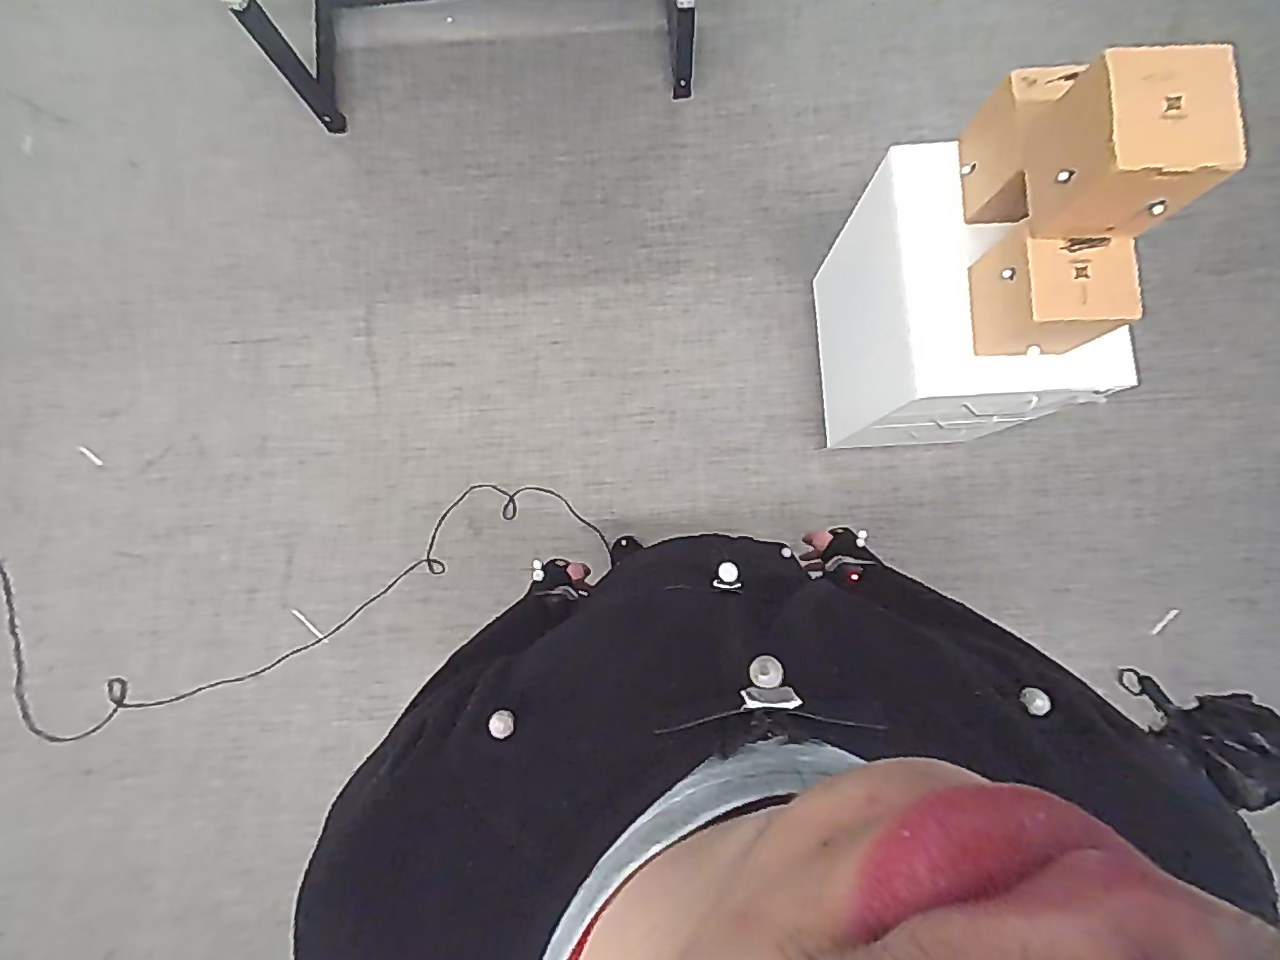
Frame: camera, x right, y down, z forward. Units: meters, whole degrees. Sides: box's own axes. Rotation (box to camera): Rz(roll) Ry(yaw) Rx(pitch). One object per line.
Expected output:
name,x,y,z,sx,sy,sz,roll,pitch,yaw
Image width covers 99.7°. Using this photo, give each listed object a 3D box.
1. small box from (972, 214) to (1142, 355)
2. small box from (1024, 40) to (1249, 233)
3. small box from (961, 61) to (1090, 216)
small box,0.695,-0.326,0.923,0.168,0.176,0.179,0,84,3
small box,0.693,-0.476,0.776,0.168,0.176,0.179,-1,83,1
small box,0.694,-0.585,0.951,0.168,0.176,0.179,-2,86,2
